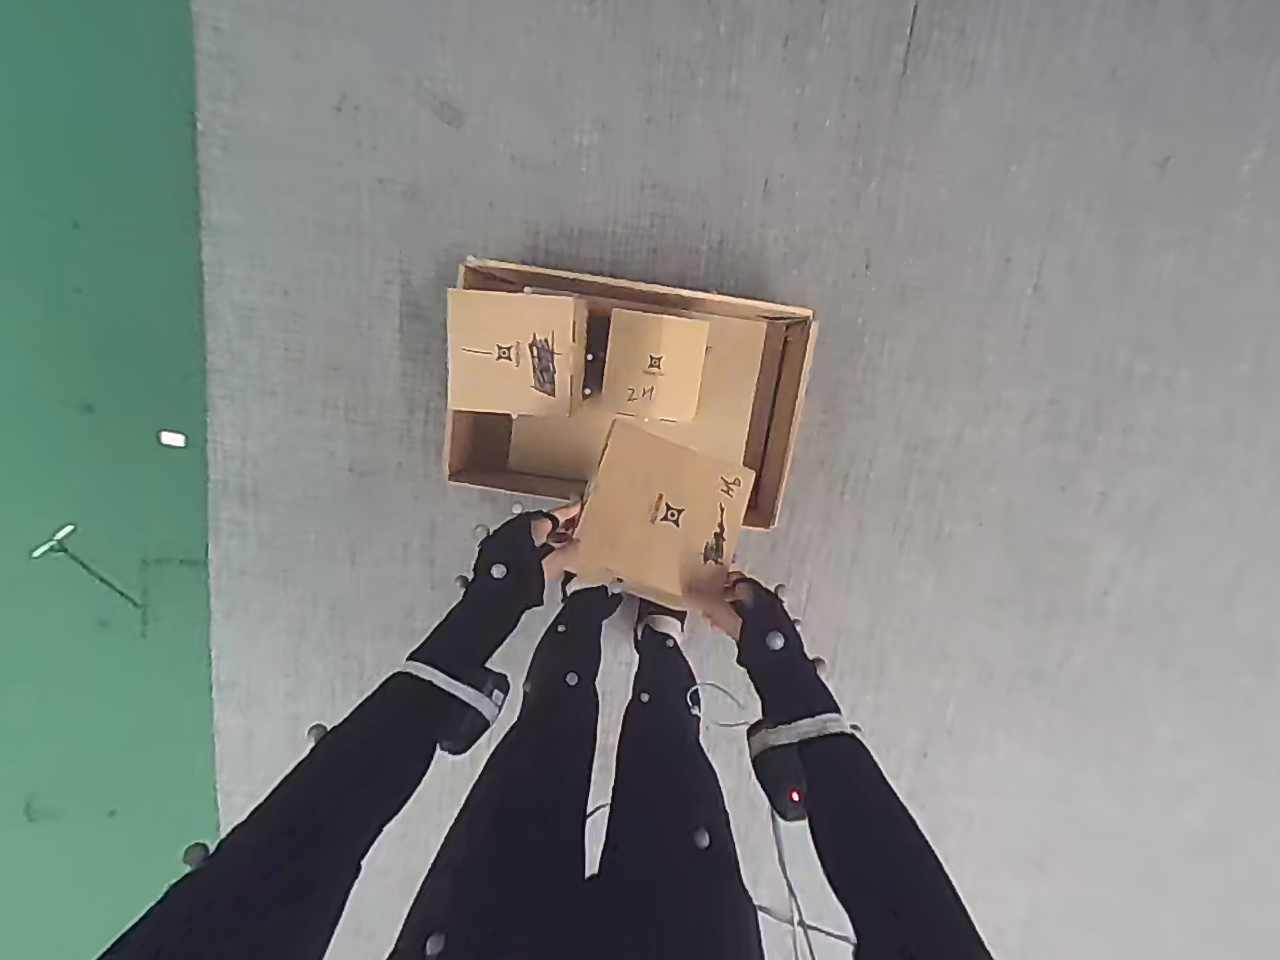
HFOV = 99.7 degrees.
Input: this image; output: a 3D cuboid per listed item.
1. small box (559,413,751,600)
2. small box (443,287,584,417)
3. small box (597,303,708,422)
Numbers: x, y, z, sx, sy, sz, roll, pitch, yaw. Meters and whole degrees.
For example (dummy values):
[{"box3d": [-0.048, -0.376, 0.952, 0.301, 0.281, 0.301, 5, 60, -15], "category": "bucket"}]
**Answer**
[{"box3d": [0.008, 0.045, 0.667, 0.179, 0.176, 0.168, 21, 75, -4], "category": "small box"}, {"box3d": [-0.183, -0.192, 0.821, 0.179, 0.176, 0.168, 4, 102, 1], "category": "small box"}, {"box3d": [0.022, -0.210, 0.980, 0.168, 0.176, 0.179, 9, 102, 1], "category": "small box"}]
